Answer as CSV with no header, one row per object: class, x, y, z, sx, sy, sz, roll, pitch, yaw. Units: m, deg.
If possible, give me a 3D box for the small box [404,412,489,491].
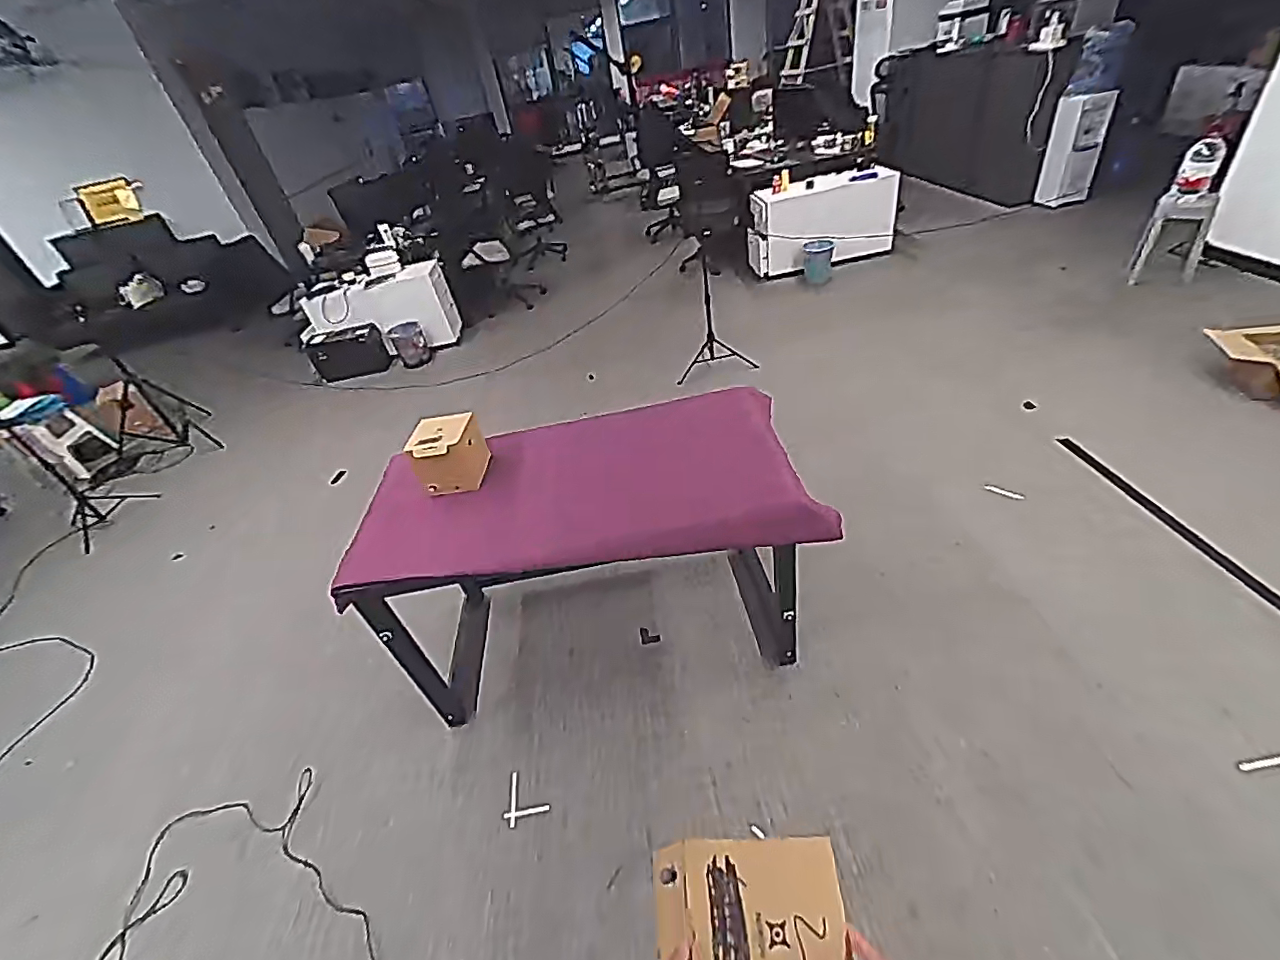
small box,-0.568,-0.080,1.620,0.168,0.176,0.179,-7,39,6
